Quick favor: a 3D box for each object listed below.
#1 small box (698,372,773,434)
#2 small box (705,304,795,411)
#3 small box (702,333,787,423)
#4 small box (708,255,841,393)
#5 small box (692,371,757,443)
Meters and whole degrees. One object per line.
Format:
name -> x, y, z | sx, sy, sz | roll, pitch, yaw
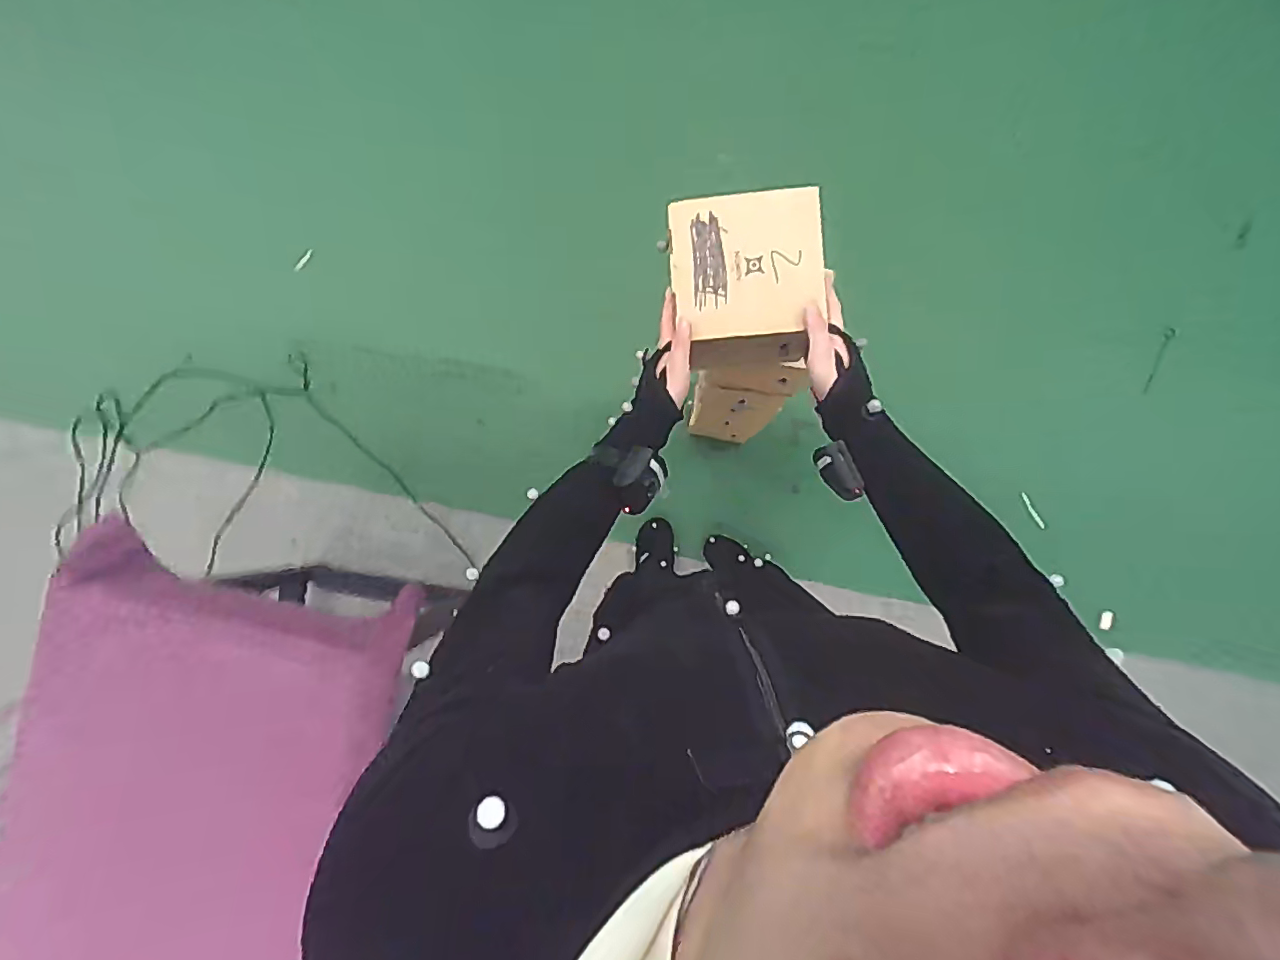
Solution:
small box -> 0.252, -0.218, 1.405 | 0.179, 0.176, 0.168 | 9, 87, 4
small box -> 0.224, -0.242, 1.080 | 0.168, 0.176, 0.179 | 9, 88, 4
small box -> 0.241, -0.230, 1.242 | 0.179, 0.176, 0.168 | 7, 88, 3
small box -> 0.217, -0.253, 0.917 | 0.179, 0.176, 0.168 | 10, 86, 5
small box -> 0.255, -0.207, 1.567 | 0.179, 0.176, 0.168 | 12, 87, 4
